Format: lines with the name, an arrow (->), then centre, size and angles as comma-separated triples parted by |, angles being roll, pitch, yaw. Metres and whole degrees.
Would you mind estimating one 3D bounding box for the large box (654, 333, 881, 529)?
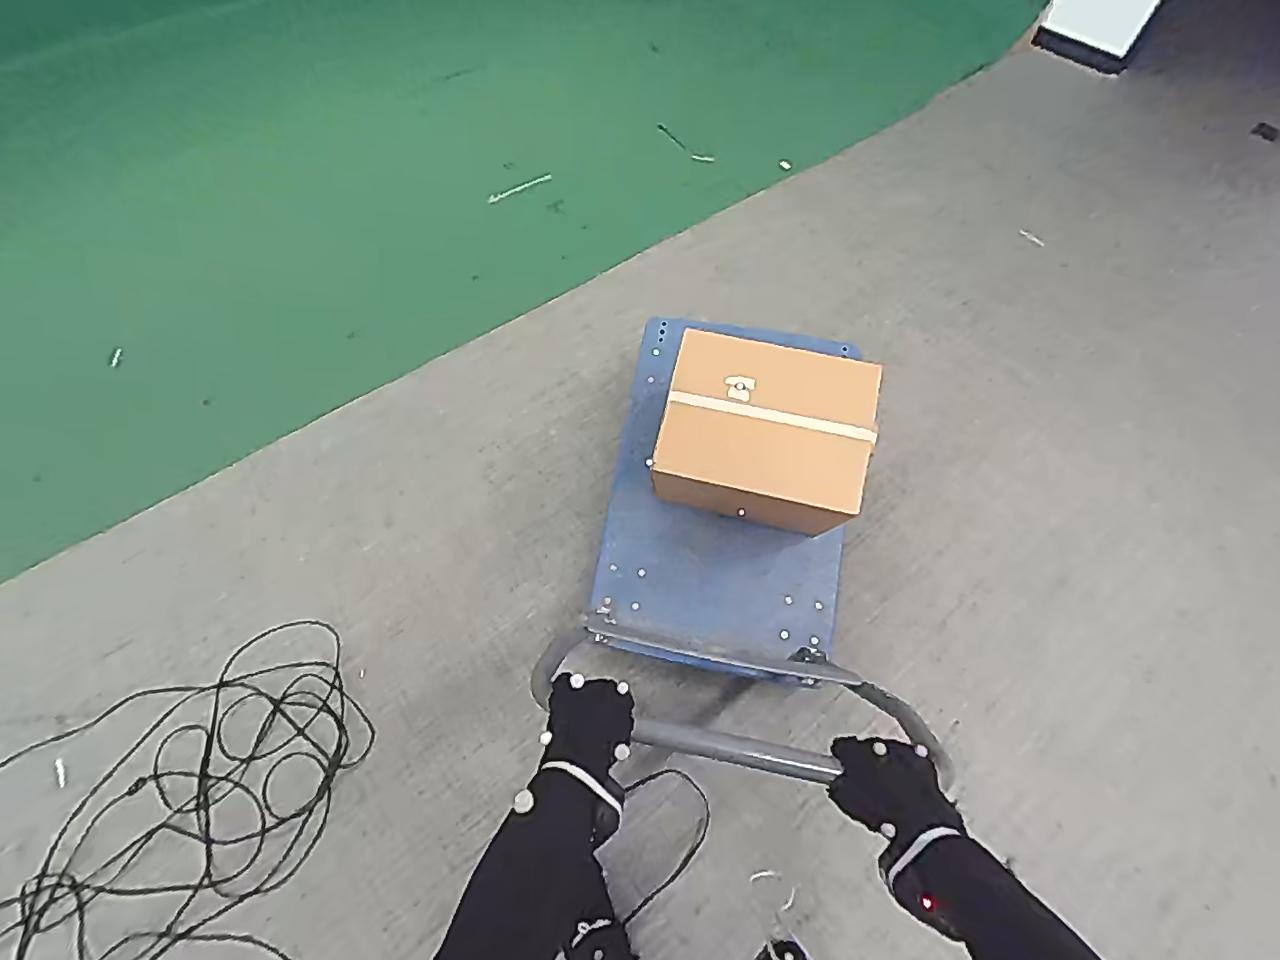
large box -> 0.268, -0.091, 1.206 | 0.408, 0.320, 0.320 | 12, 78, 8
